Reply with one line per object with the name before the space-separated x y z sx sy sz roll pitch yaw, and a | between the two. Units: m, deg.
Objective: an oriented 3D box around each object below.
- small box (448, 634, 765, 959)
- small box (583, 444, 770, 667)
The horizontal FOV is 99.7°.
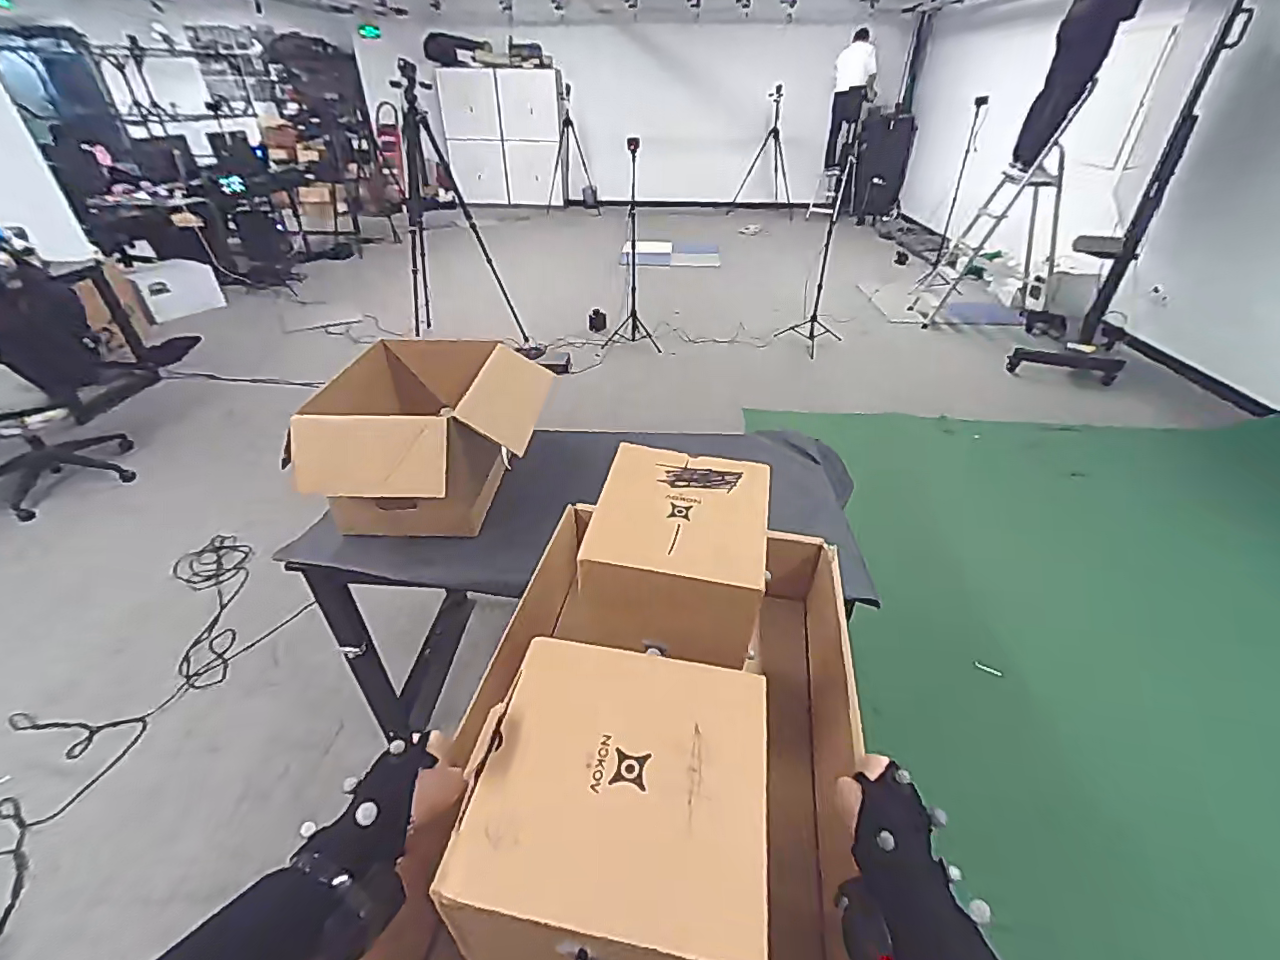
small box | -0.011 0.242 0.394 0.179 0.176 0.168 8 39 6
small box | 0.041 0.088 0.587 0.168 0.176 0.179 9 42 8
